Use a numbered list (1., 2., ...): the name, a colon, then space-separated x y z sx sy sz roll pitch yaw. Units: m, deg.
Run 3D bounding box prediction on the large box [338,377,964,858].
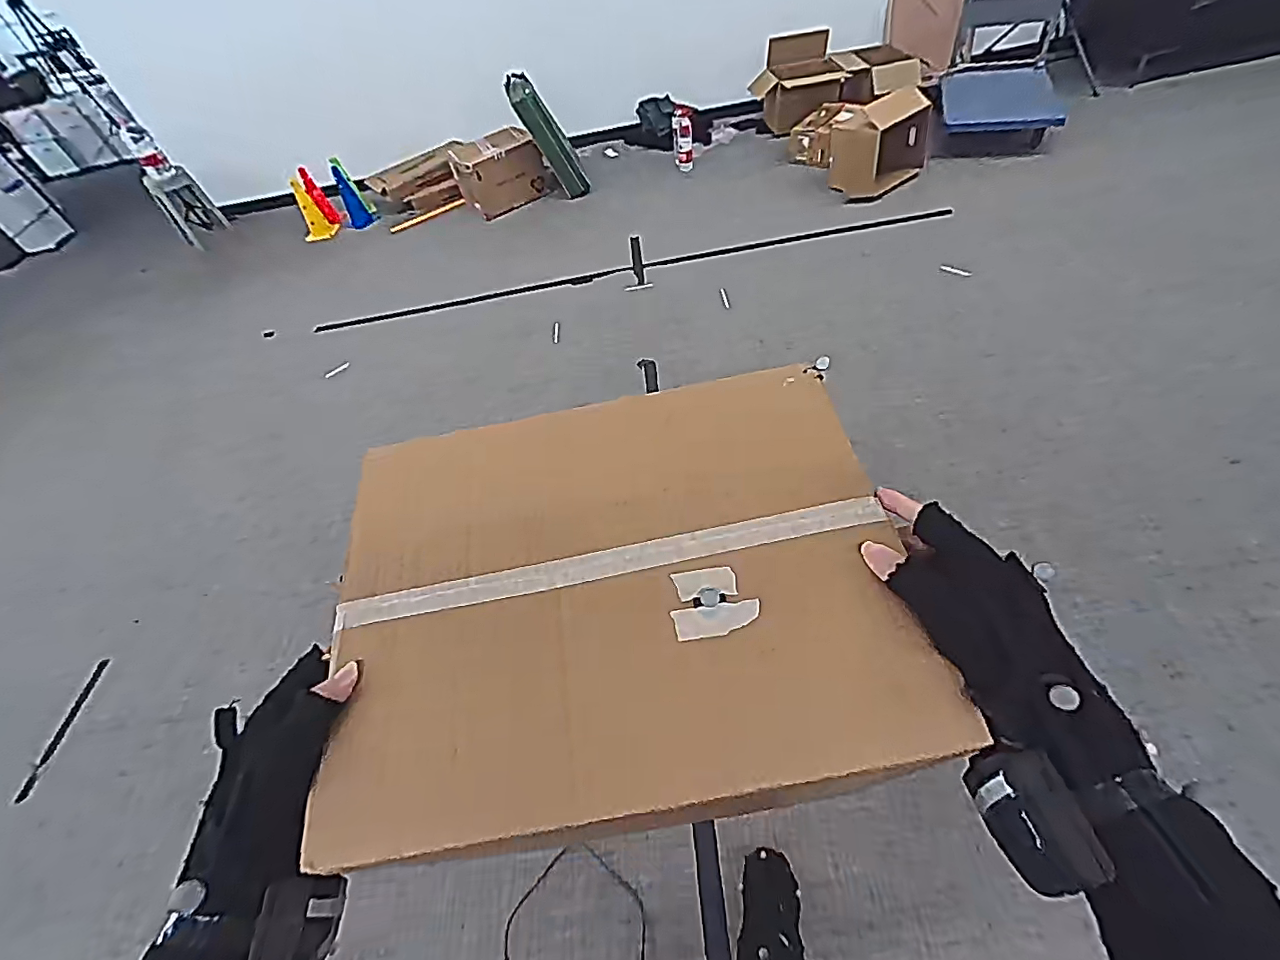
1. large box: -0.001 0.149 0.536 0.408 0.320 0.320 -11 56 1
